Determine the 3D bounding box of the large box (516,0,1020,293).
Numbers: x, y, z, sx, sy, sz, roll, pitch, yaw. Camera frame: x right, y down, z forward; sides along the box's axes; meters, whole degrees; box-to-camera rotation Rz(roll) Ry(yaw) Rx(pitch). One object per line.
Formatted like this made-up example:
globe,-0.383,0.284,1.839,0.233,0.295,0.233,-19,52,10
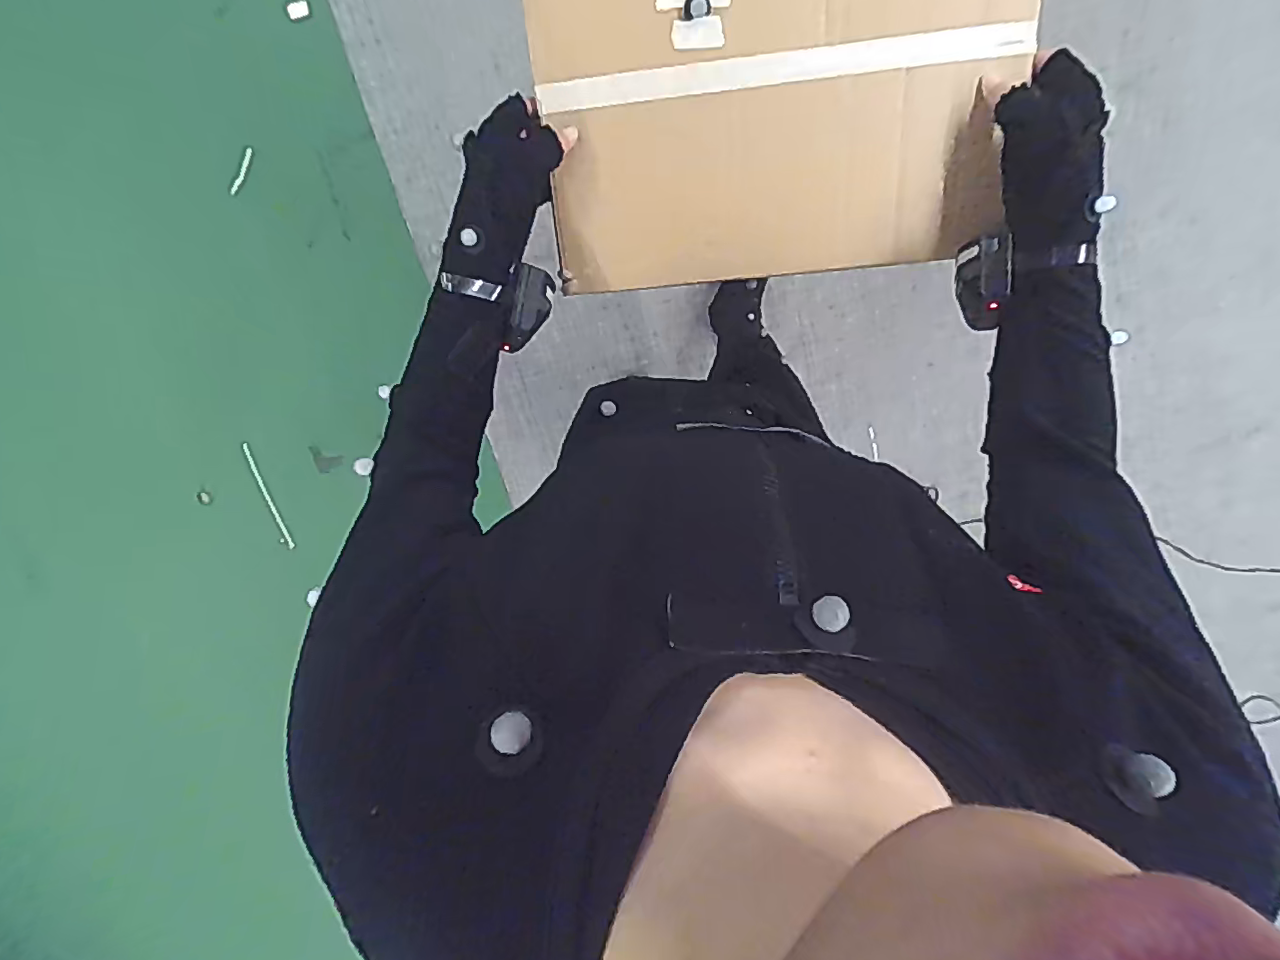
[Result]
large box,0.111,-0.391,0.587,0.408,0.320,0.320,-4,110,4
